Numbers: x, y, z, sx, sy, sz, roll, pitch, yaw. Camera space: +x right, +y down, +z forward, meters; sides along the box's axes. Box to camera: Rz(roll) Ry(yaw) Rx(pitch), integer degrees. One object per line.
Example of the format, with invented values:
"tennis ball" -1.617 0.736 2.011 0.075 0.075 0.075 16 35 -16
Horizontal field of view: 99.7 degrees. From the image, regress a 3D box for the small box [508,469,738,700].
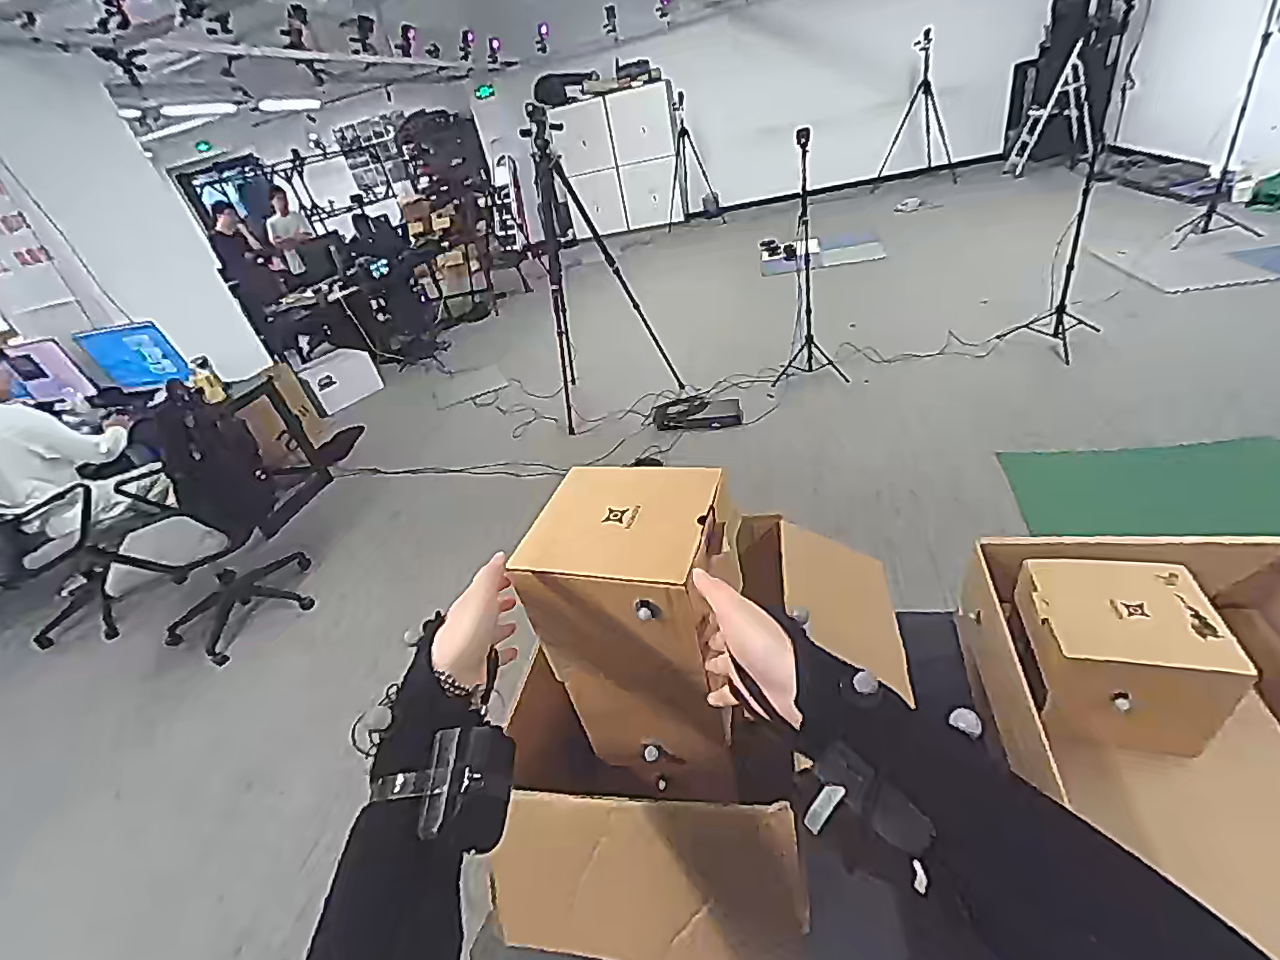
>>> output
"small box" -0.003 0.104 0.564 0.179 0.176 0.168 1 37 20
